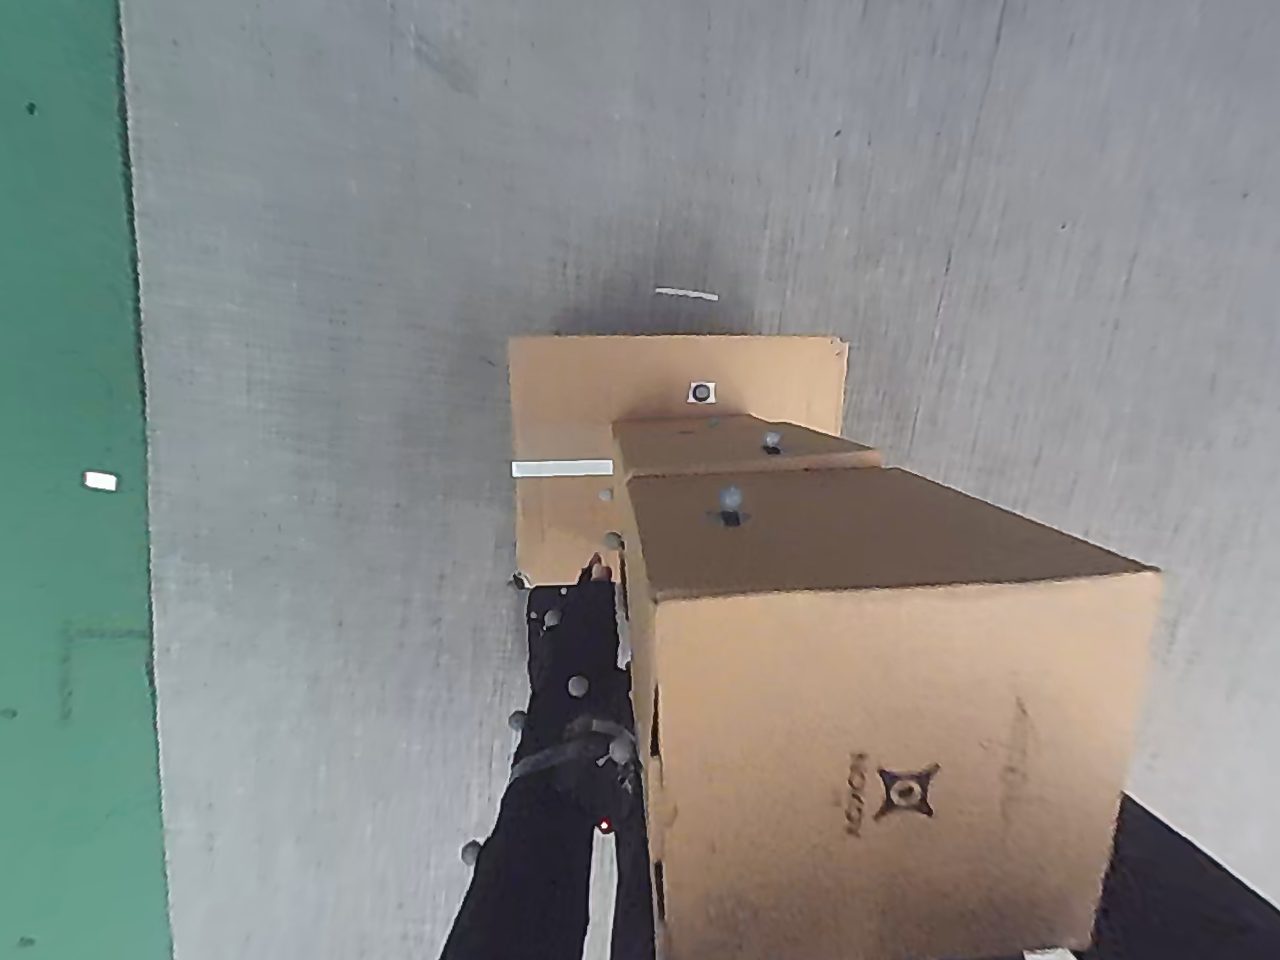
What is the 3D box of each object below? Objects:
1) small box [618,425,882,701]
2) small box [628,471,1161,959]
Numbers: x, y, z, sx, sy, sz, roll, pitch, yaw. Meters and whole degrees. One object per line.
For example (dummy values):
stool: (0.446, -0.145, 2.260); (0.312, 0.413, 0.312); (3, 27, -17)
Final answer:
small box: (0.069, 0.057, 0.429); (0.168, 0.176, 0.179); (-4, 103, -3)
small box: (0.084, 0.095, 0.270); (0.179, 0.176, 0.168); (-3, 104, -4)
